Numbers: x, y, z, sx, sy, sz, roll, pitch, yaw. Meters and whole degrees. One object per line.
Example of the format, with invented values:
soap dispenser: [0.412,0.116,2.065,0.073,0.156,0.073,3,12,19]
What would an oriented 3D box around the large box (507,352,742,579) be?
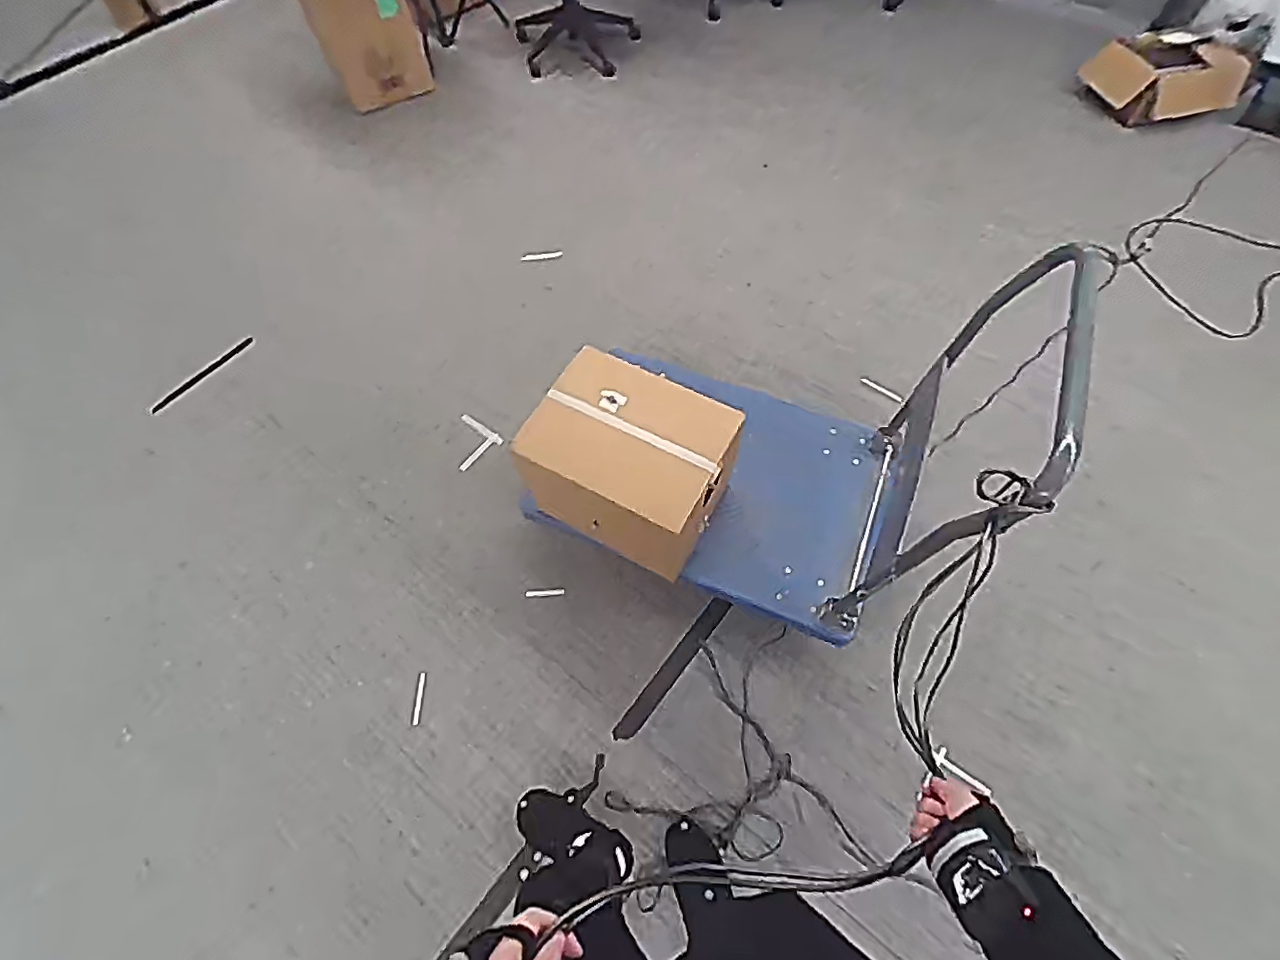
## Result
large box: [-0.022,-0.025,1.249,0.408,0.320,0.320,26,65,15]
